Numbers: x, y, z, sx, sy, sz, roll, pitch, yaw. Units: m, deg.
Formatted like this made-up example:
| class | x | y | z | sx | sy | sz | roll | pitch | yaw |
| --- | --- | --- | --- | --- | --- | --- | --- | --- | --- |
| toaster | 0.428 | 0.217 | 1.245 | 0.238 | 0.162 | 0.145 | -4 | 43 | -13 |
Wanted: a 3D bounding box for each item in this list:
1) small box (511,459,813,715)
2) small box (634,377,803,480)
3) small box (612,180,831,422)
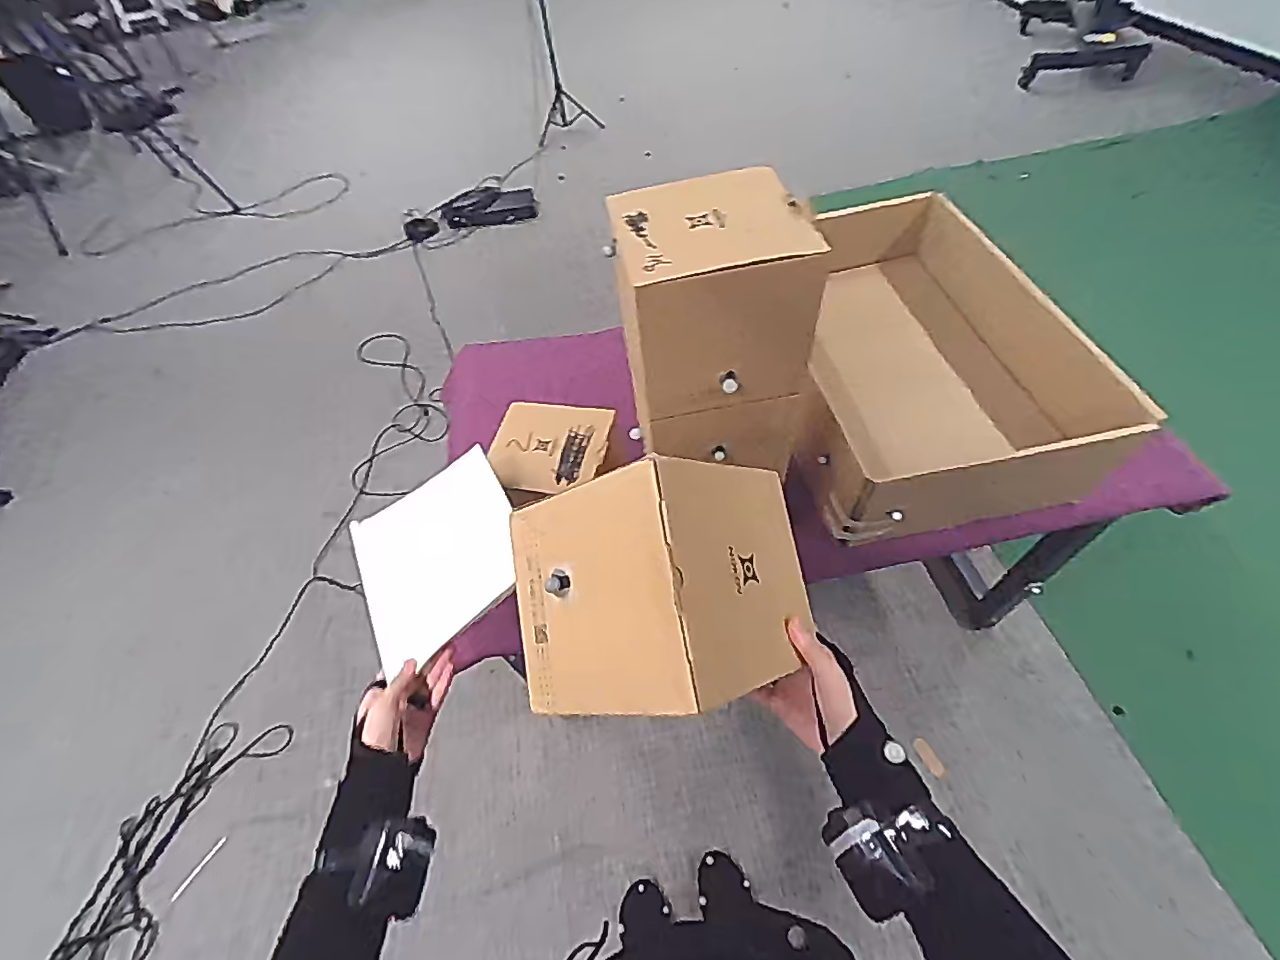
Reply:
| class | x | y | z | sx | sy | sz | roll | pitch | yaw |
| --- | --- | --- | --- | --- | --- | --- | --- | --- | --- |
| small box | 0.016 | 0.090 | 0.458 | 0.176 | 0.179 | 0.168 | -22 | 73 | 41 |
| small box | 0.090 | -0.085 | 0.701 | 0.179 | 0.176 | 0.168 | -11 | 52 | -1 |
| small box | 0.074 | -0.184 | 0.571 | 0.179 | 0.176 | 0.168 | -10 | 51 | -2 |
